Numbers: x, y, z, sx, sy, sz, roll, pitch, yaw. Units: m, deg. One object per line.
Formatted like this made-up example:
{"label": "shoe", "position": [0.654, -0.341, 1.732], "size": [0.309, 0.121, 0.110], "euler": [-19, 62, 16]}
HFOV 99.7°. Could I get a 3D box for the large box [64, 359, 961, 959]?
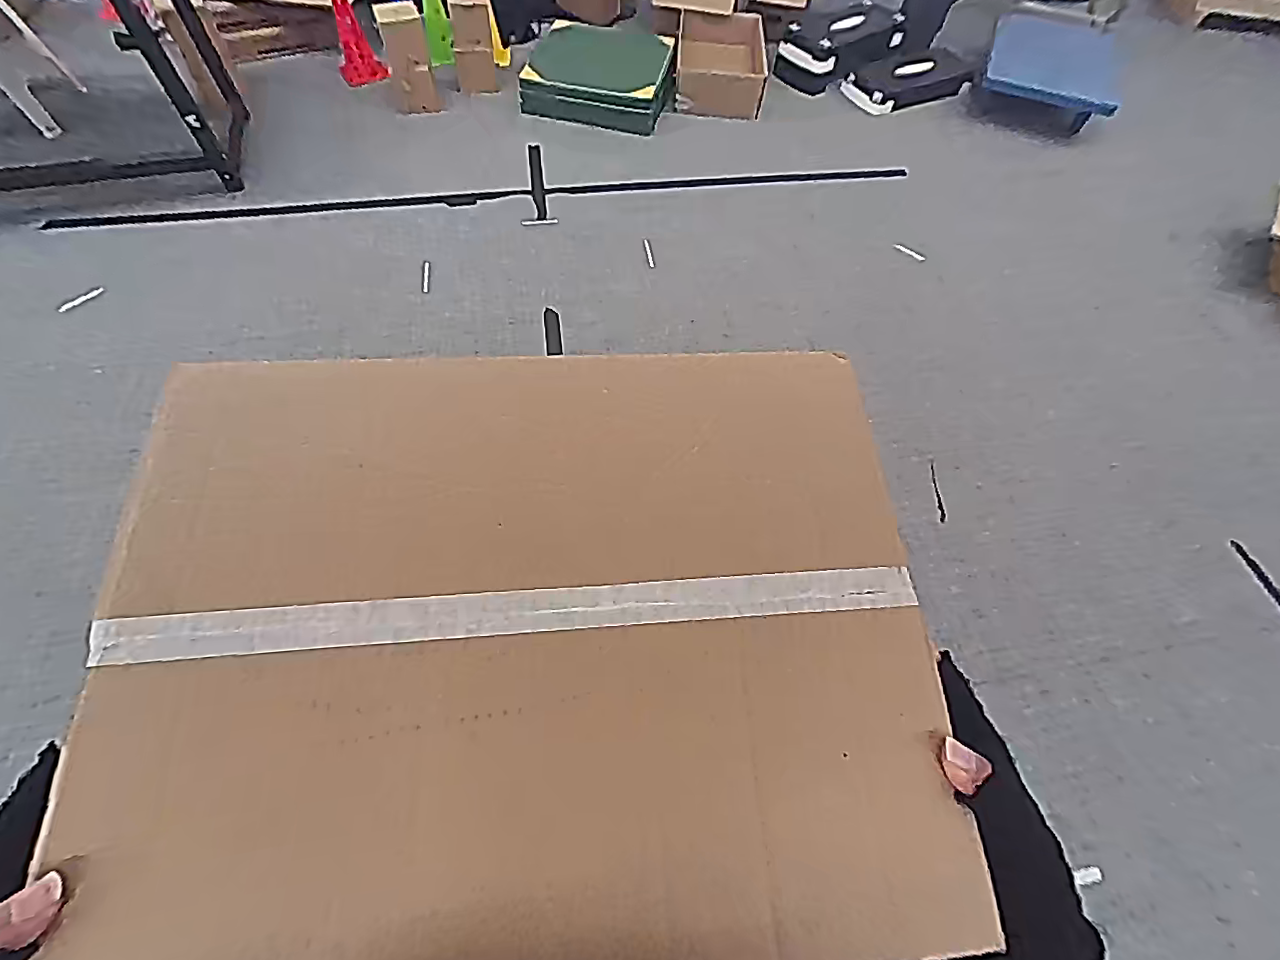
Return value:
{"label": "large box", "position": [-0.066, 0.125, 0.431], "size": [0.408, 0.320, 0.320], "euler": [-3, 69, -6]}
